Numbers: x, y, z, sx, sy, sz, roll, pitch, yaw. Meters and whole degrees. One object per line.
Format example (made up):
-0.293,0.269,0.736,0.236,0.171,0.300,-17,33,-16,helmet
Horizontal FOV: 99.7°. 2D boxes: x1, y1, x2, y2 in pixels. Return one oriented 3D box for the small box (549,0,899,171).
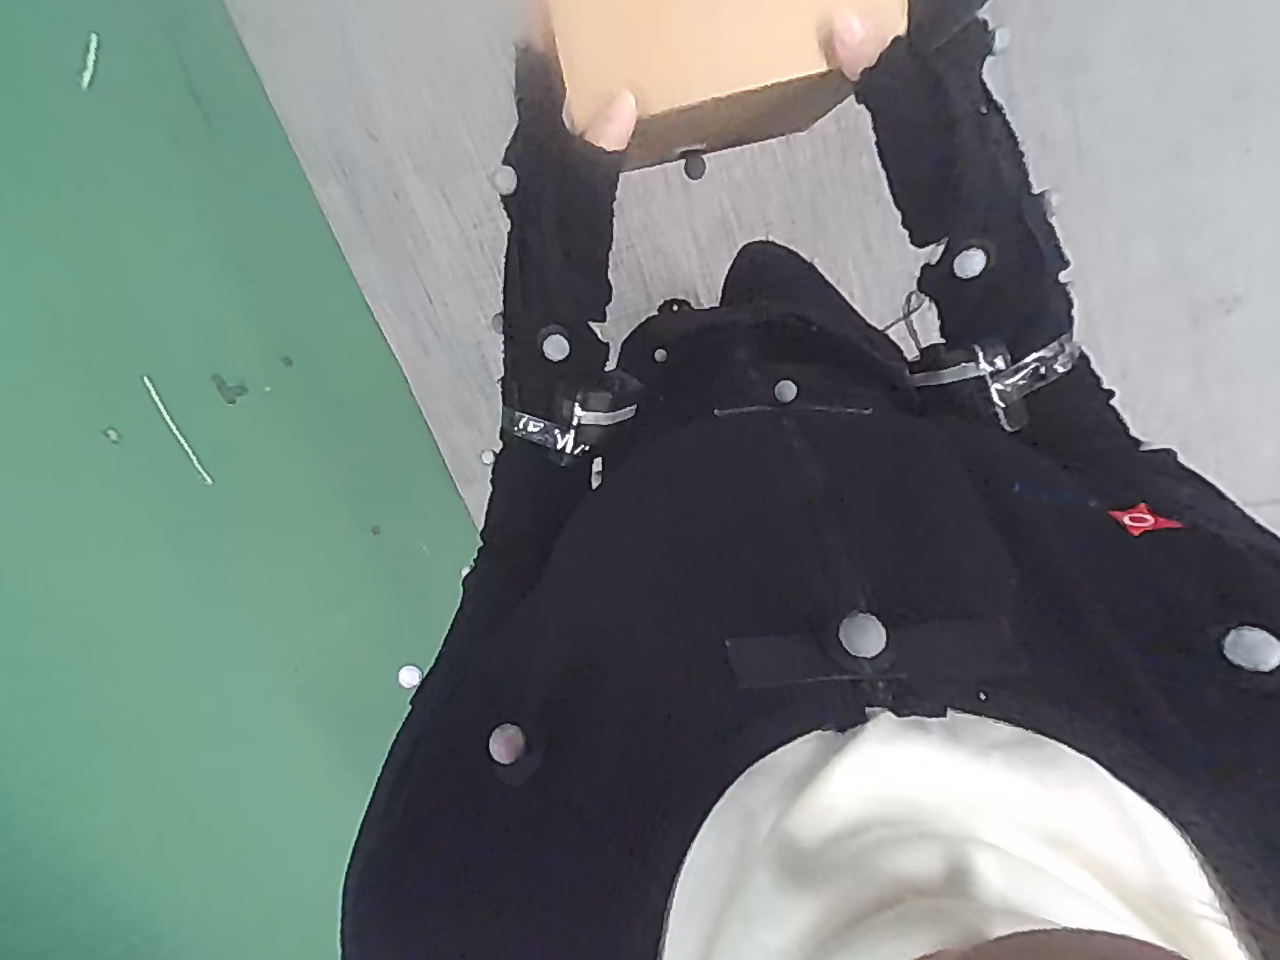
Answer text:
0.029,-0.304,0.312,0.168,0.176,0.179,-11,111,5,small box
